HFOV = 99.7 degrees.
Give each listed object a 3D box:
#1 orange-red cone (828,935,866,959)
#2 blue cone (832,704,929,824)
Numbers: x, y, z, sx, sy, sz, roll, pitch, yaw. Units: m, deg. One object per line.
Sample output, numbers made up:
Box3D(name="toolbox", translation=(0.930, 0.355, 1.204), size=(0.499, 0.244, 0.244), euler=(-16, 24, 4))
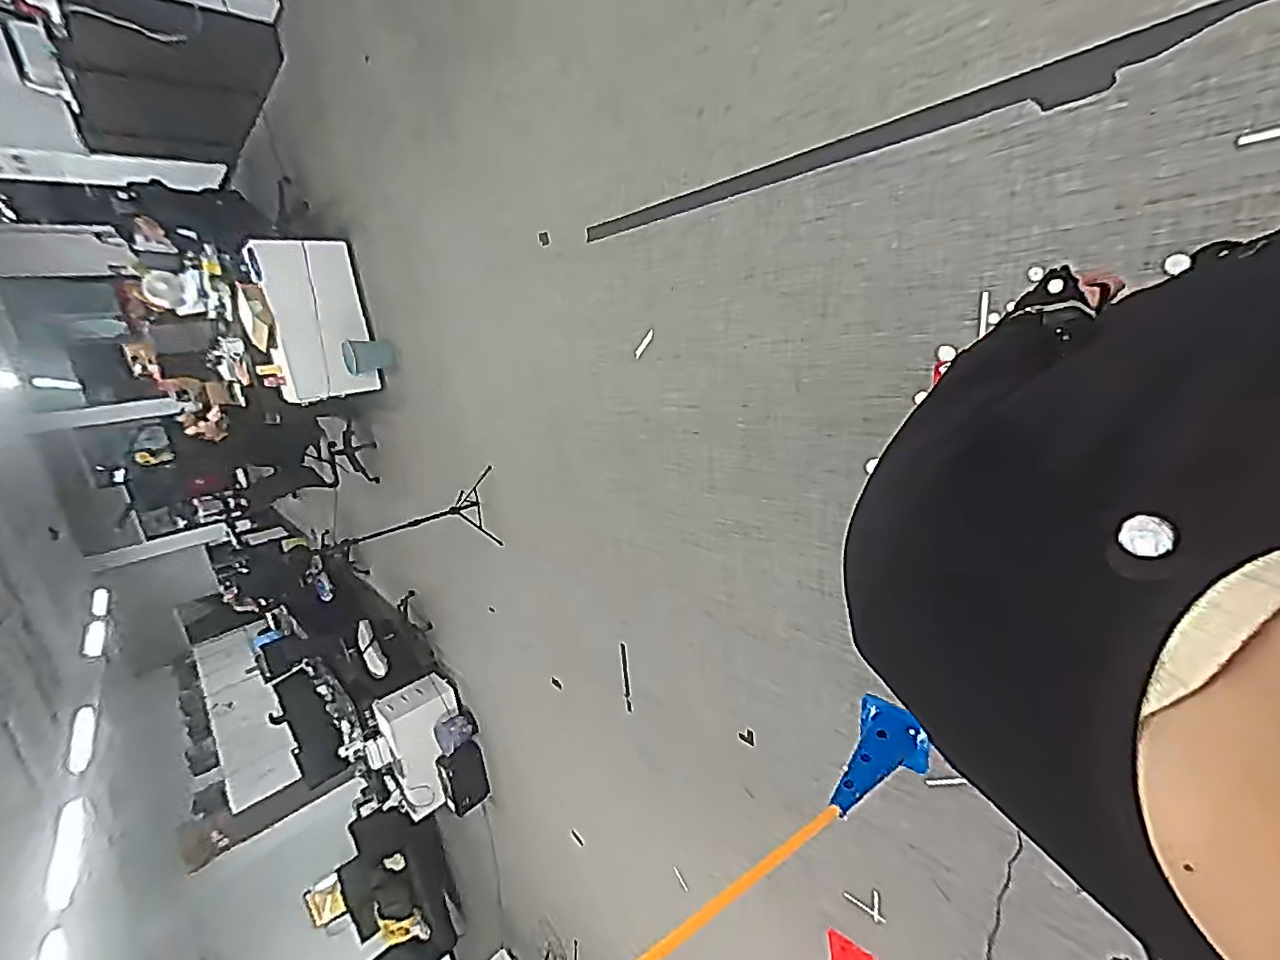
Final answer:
Box3D(name="orange-red cone", translation=(0.673, 1.865, 1.897), size=(0.199, 0.360, 0.198), euler=(3, 108, 47))
Box3D(name="blue cone", translation=(0.648, 0.820, 1.519), size=(0.193, 0.380, 0.192), euler=(15, 117, 45))
